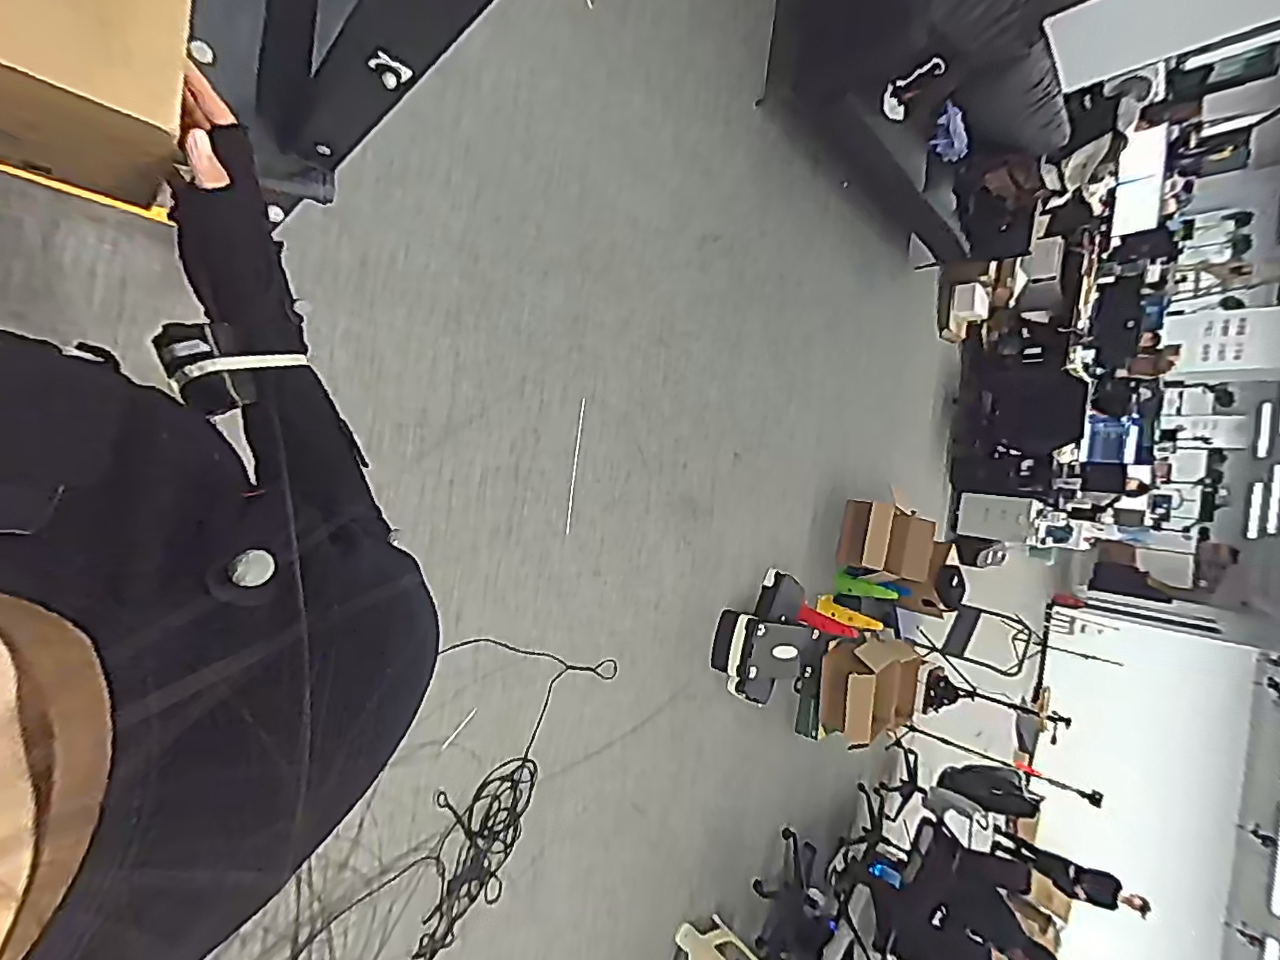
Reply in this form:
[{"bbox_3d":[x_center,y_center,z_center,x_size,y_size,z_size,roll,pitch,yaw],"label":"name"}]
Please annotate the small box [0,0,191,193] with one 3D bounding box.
[{"bbox_3d":[-0.375,-0.302,0.314,0.168,0.176,0.179,5,91,-47],"label":"small box"}]
